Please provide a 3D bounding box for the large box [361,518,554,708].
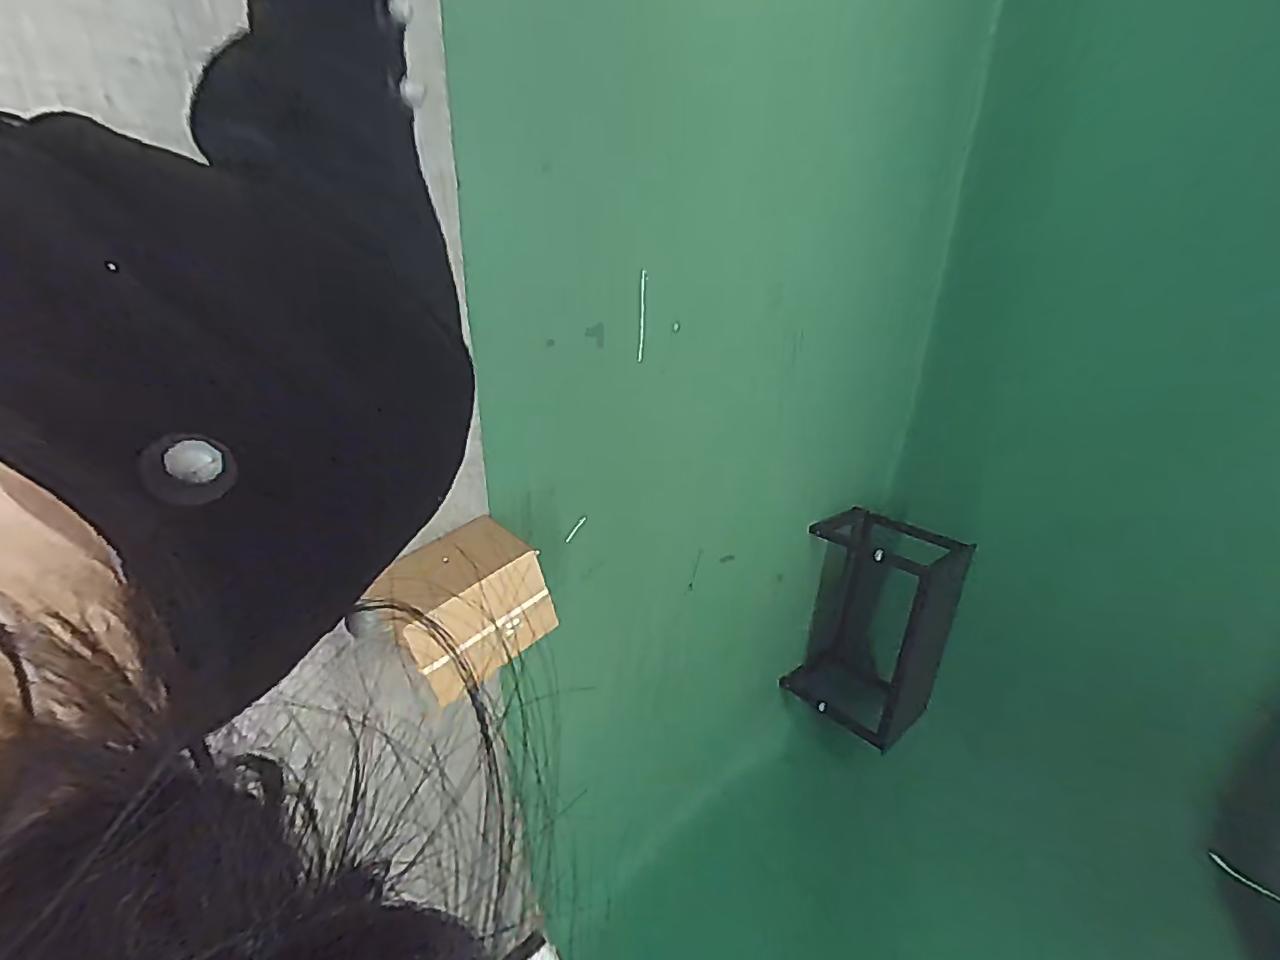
[{"bbox_3d":[-0.537,0.375,1.624,0.408,0.320,0.320,-32,127,-32],"label":"large box"}]
